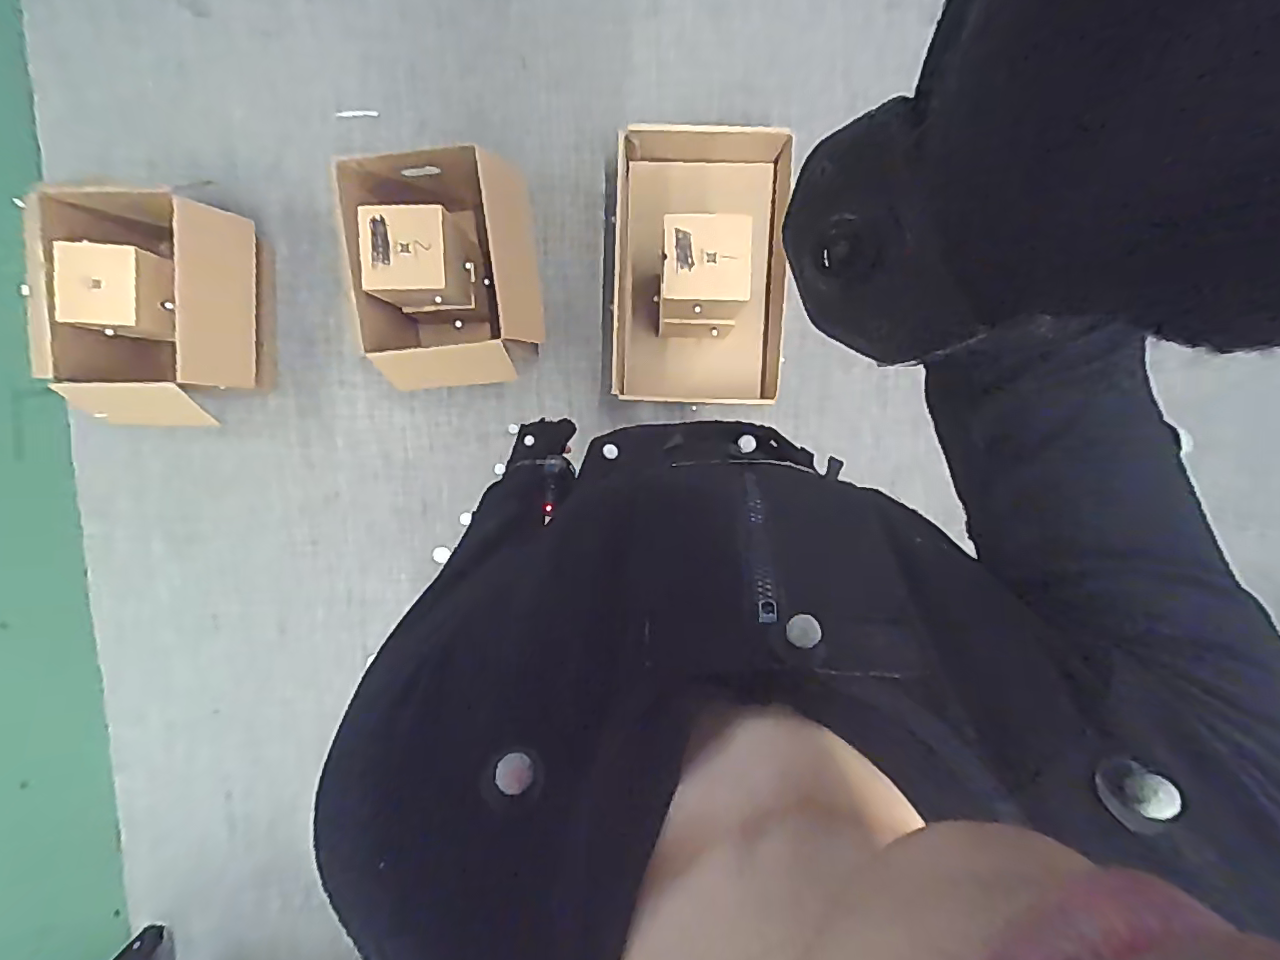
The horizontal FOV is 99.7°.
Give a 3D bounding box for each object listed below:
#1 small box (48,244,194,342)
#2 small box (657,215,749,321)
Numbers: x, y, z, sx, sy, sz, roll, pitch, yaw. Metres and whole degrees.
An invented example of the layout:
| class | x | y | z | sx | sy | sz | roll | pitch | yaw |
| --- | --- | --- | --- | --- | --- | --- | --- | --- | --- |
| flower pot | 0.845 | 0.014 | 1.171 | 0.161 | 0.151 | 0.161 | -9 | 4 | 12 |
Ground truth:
| class | x | y | z | sx | sy | sz | roll | pitch | yaw |
| --- | --- | --- | --- | --- | --- | --- | --- | --- | --- |
| small box | -1.141 | -0.407 | 1.203 | 0.179 | 0.176 | 0.168 | 3 | 94 | 0 |
| small box | 0.126 | -0.438 | 1.140 | 0.179 | 0.176 | 0.168 | 1 | 93 | 0 |
